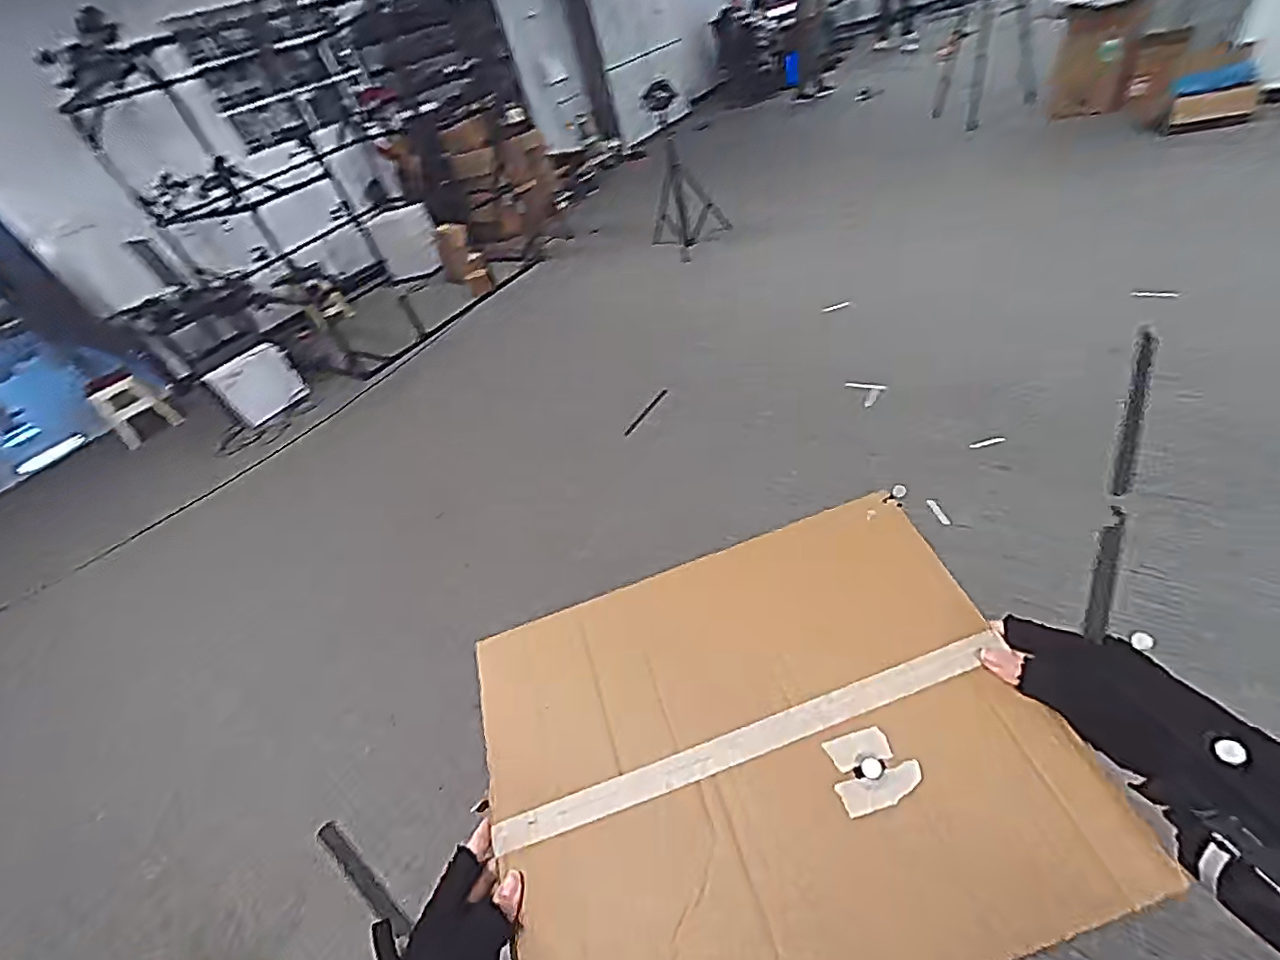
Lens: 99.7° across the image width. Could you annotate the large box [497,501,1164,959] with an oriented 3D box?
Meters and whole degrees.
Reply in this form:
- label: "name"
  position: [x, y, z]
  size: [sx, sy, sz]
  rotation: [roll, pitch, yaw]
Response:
- label: "large box"
  position: [0.122, 0.287, 0.531]
  size: [0.408, 0.320, 0.320]
  rotation: [-20, 53, -2]
